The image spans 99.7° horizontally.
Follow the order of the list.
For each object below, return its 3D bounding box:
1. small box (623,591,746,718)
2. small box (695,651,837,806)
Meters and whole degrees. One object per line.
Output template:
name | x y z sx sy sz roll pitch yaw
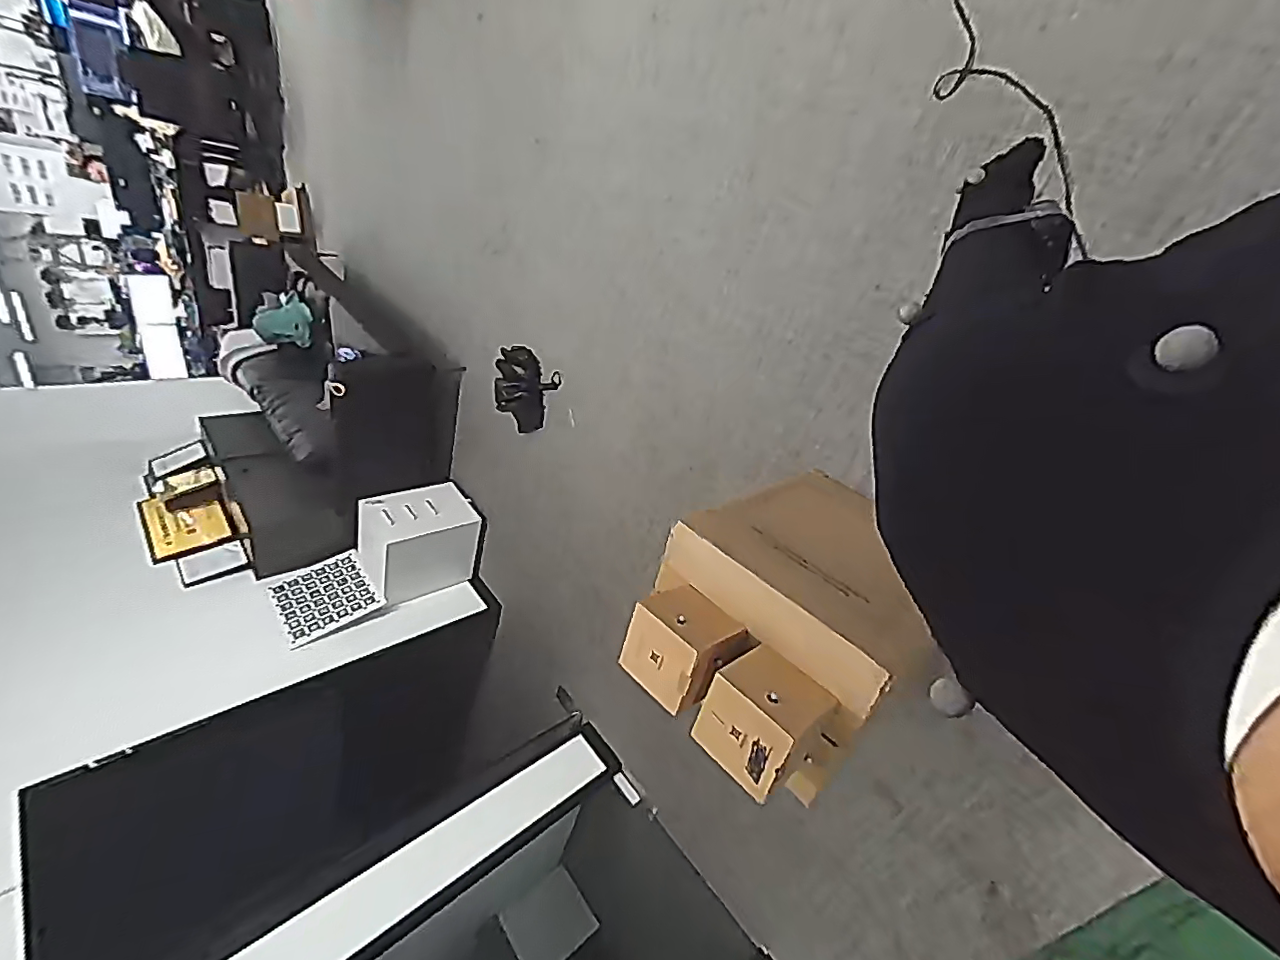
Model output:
small box | 0.097 0.358 1.149 0.179 0.176 0.168 33 116 38
small box | 0.240 0.454 1.021 0.179 0.176 0.168 34 118 37
